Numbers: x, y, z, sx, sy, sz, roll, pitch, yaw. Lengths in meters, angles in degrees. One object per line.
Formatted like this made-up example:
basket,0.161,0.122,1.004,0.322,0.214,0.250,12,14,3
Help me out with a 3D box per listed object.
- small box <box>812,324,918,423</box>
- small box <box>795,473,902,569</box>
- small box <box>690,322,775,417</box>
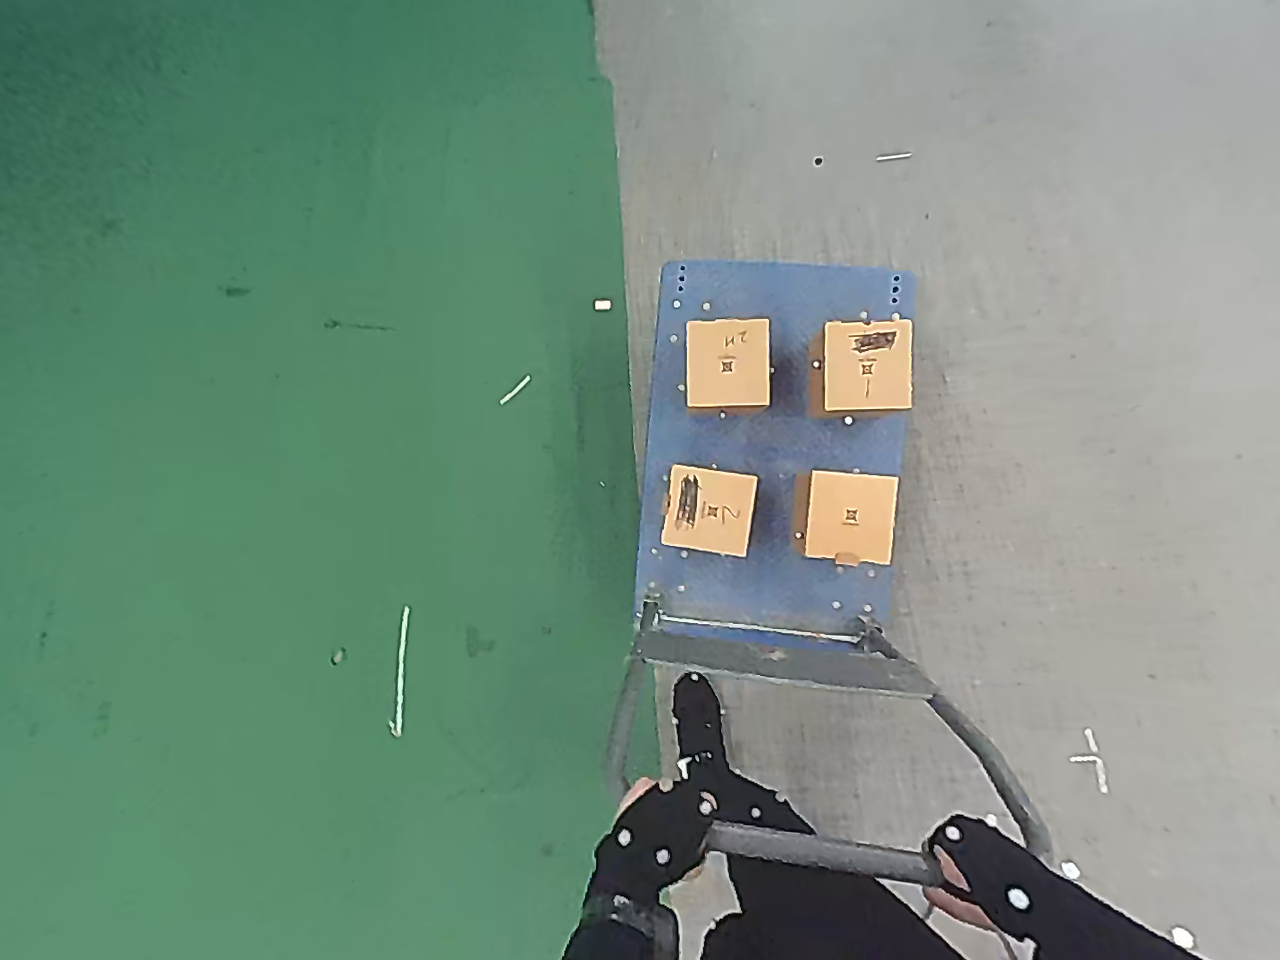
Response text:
small box,0.462,-0.216,1.133,0.168,0.176,0.179,1,91,6
small box,0.429,0.080,1.137,0.168,0.176,0.179,5,91,6
small box,0.193,-0.229,1.160,0.168,0.176,0.179,0,90,5
